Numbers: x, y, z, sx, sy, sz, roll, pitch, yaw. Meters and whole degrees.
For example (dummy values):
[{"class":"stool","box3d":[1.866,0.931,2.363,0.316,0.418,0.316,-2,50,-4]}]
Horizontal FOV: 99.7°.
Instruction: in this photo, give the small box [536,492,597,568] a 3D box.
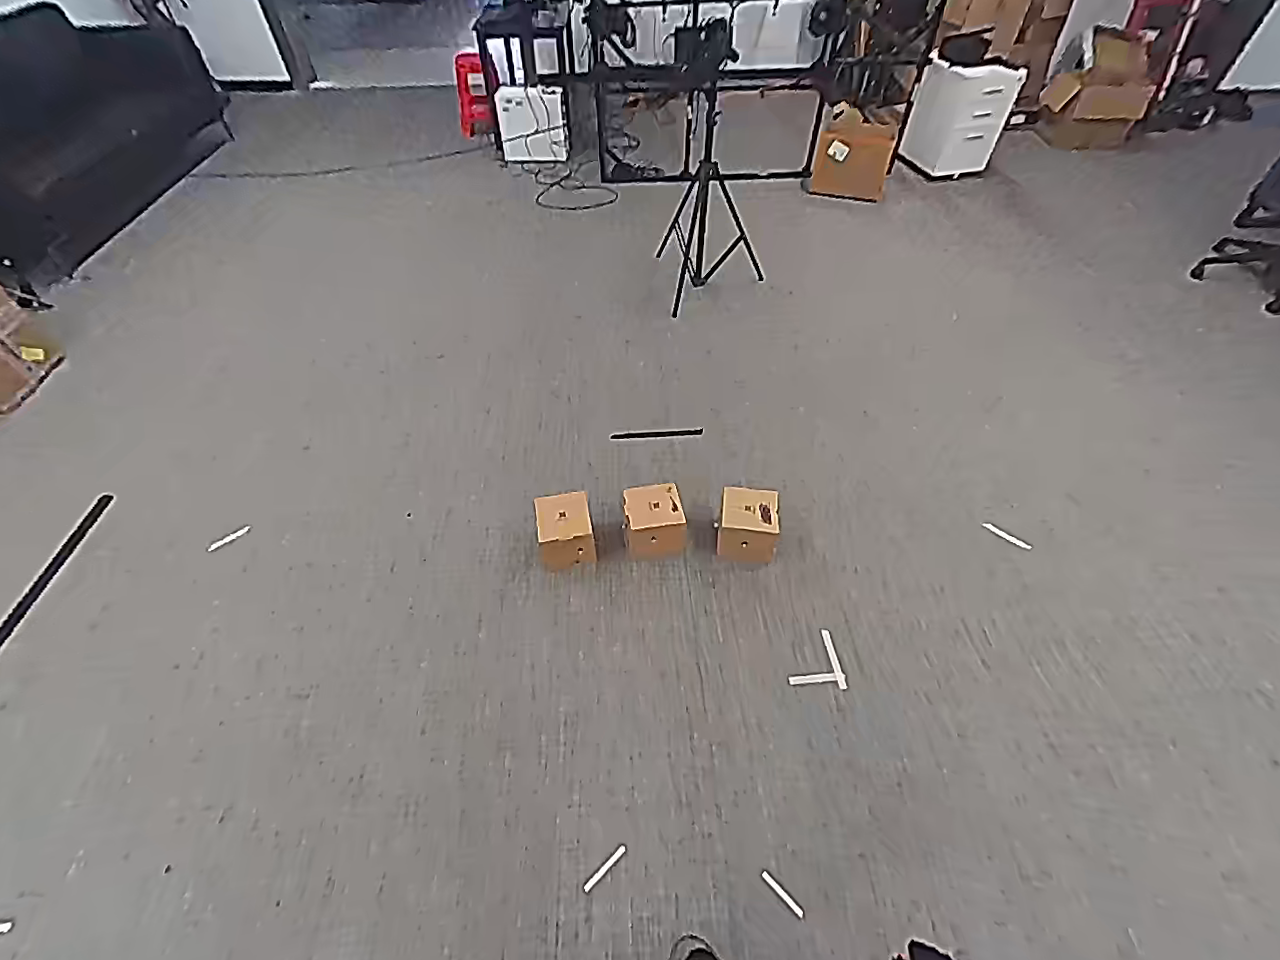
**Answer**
[{"class":"small box","box3d":[-0.235,0.166,1.734,0.168,0.176,0.179,-9,49,-8]}]

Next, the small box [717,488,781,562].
[{"class":"small box","box3d":[0.350,0.149,1.742,0.179,0.176,0.168,6,50,6]}]

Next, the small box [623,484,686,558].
[{"class":"small box","box3d":[0.047,0.137,1.754,0.179,0.176,0.168,-8,51,-6]}]
